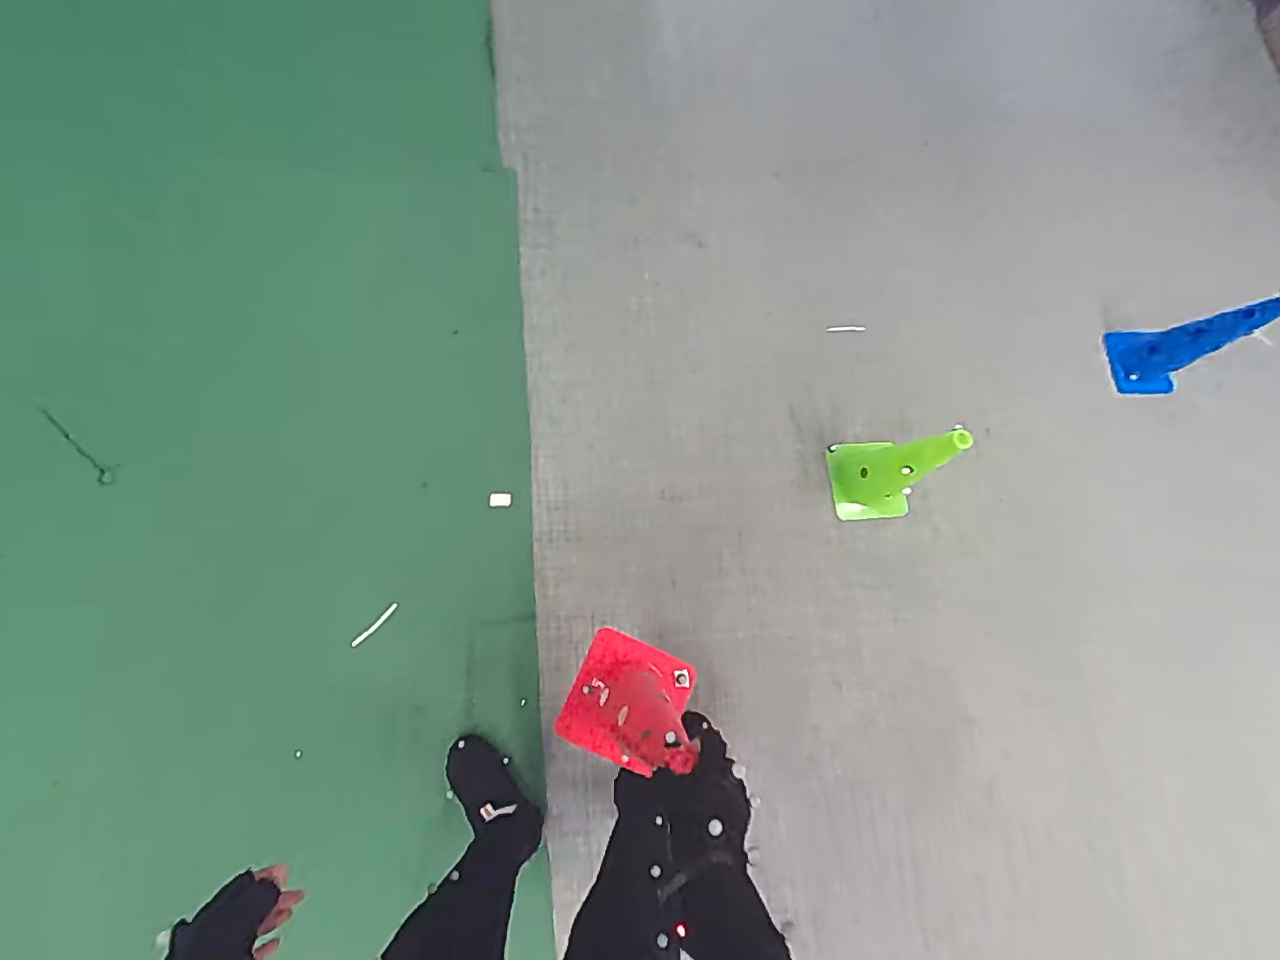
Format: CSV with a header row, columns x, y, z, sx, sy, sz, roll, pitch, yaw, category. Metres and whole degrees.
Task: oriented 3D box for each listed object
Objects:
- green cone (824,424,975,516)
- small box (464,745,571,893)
x,y,z,sx,sy,sz,roll,pitch,yaw,category
0.605,-0.047,1.224,0.202,0.368,0.200,-5,78,-10,green cone
-0.251,0.665,1.087,0.168,0.176,0.179,-14,82,-21,small box
